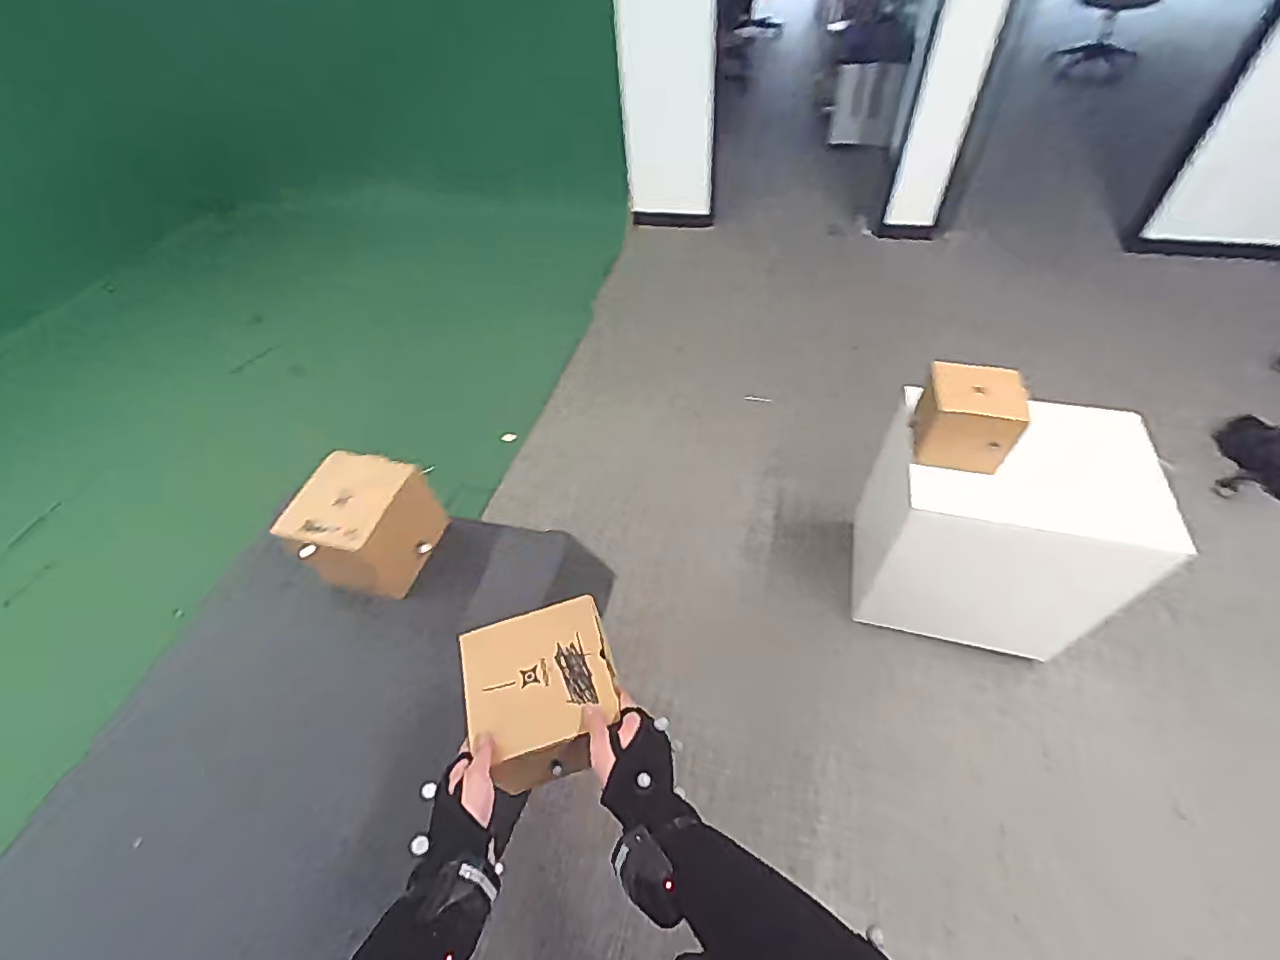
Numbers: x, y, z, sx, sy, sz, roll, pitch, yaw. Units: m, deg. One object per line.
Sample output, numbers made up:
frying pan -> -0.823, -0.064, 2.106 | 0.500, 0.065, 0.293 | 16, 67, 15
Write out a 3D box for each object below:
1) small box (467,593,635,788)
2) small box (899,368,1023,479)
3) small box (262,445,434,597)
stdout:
small box -> -0.108, 0.273, 0.697 | 0.179, 0.176, 0.168 | -15, 52, -7
small box -> 0.699, -0.122, 1.200 | 0.179, 0.176, 0.168 | 9, 50, 10
small box -> -0.477, 0.070, 0.921 | 0.168, 0.176, 0.179 | 10, 51, 11
